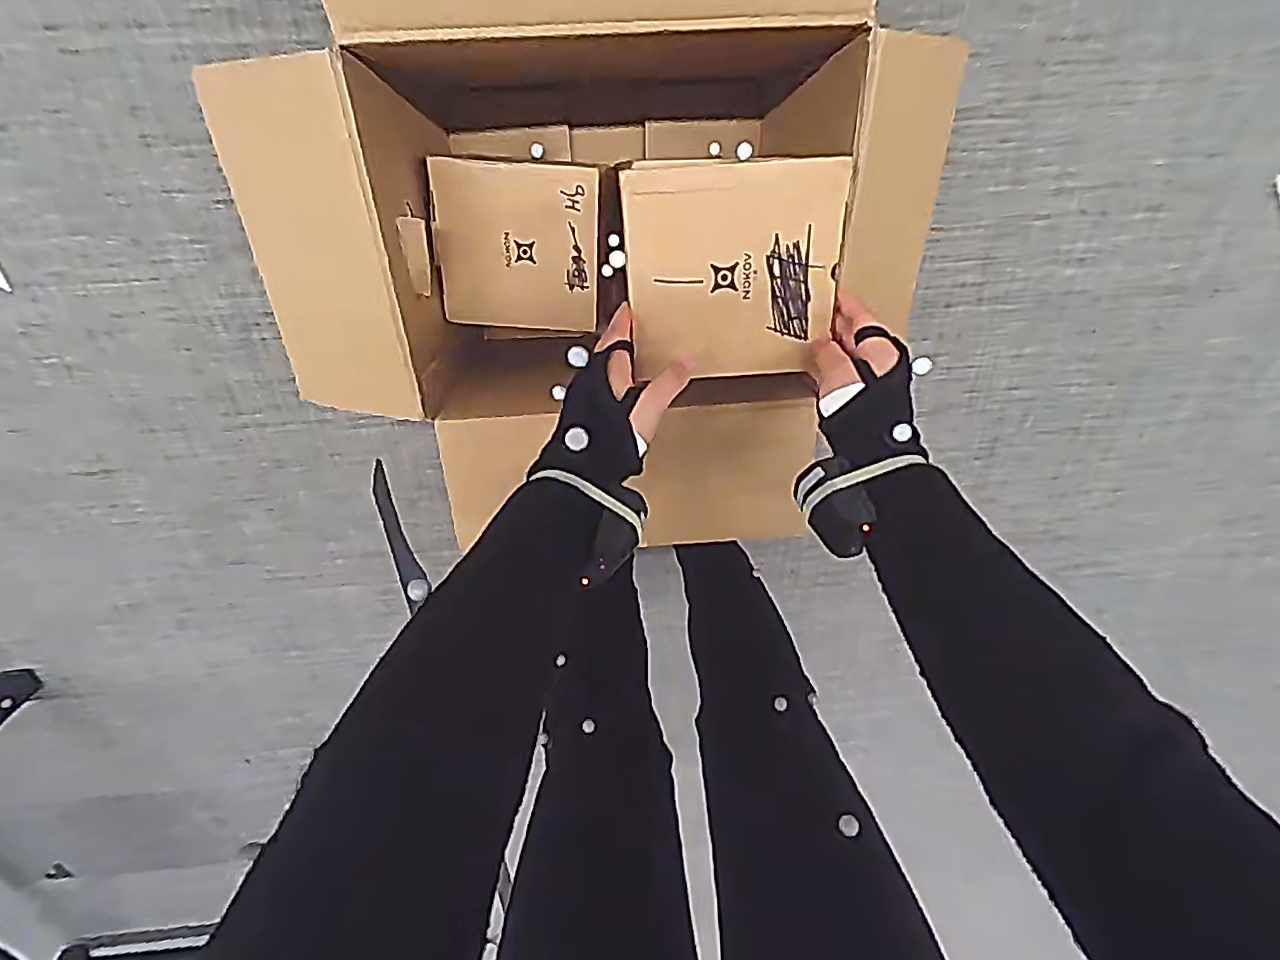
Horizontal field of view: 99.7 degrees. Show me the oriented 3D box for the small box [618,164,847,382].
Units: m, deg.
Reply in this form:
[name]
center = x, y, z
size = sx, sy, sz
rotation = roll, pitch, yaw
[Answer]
[small box]
center = 0.071, -0.202, 0.513
size = 0.179, 0.176, 0.168
rotation = -3, 119, 1
